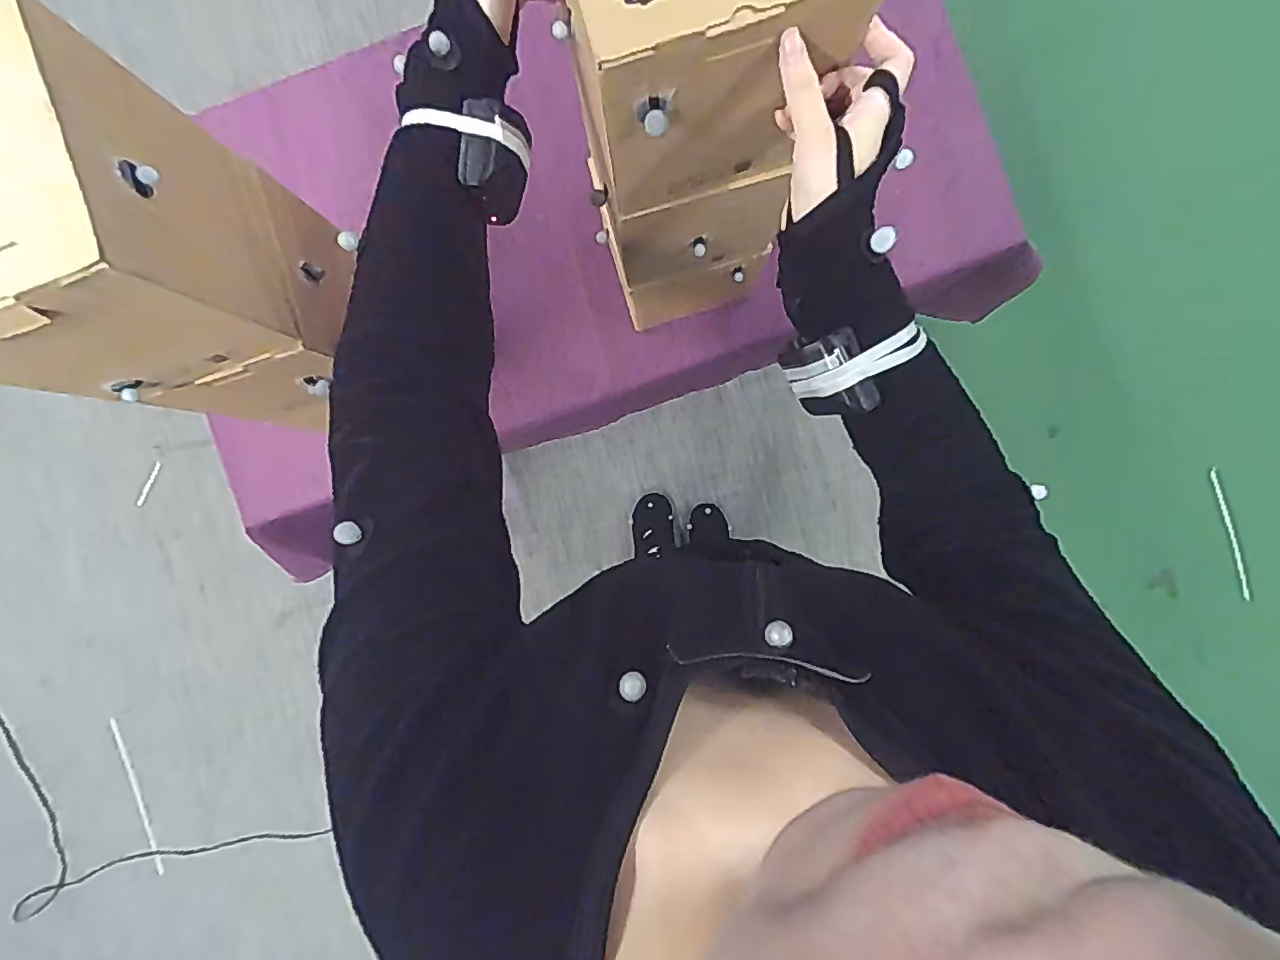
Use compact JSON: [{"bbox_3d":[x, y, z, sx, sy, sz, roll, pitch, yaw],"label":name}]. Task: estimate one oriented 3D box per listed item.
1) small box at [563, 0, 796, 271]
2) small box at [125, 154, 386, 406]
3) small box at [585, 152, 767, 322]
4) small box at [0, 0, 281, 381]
[{"bbox_3d":[0.036,-0.326,0.532,0.168,0.176,0.179,-14,90,2],"label":"small box"},{"bbox_3d":[-0.390,-0.180,0.551,0.168,0.176,0.179,-16,90,2],"label":"small box"},{"bbox_3d":[0.044,-0.323,0.696,0.179,0.176,0.168,-16,90,2],"label":"small box"},{"bbox_3d":[-0.404,-0.181,0.387,0.168,0.176,0.179,-19,89,2],"label":"small box"}]
